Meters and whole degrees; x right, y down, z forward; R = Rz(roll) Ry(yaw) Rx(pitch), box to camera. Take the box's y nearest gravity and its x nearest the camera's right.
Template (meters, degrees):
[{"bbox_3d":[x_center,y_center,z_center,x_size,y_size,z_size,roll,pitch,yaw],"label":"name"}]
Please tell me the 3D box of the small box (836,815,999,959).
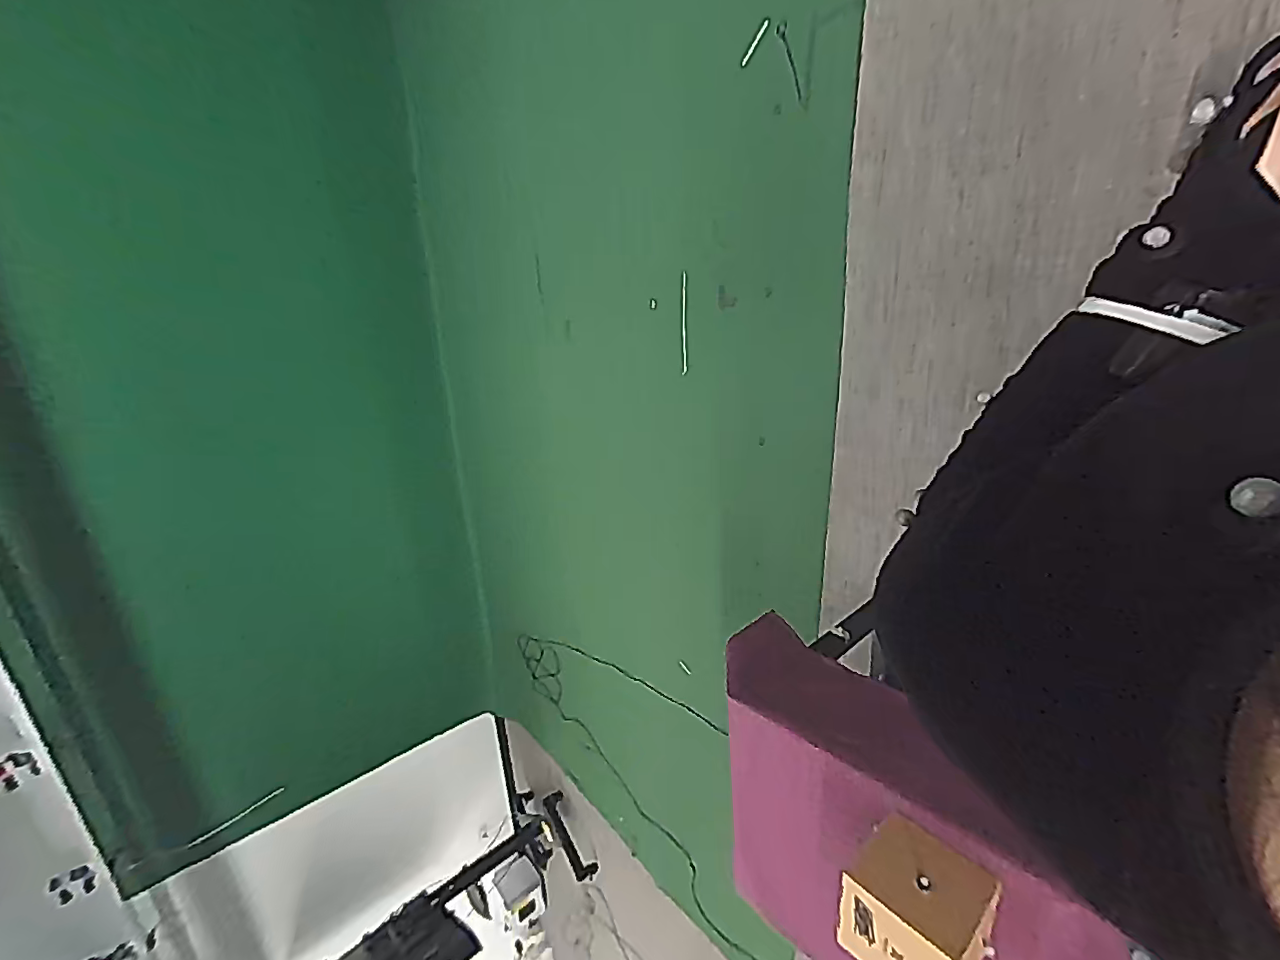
[{"bbox_3d":[0.448,0.692,0.881,0.179,0.176,0.168,18,118,46],"label":"small box"}]
